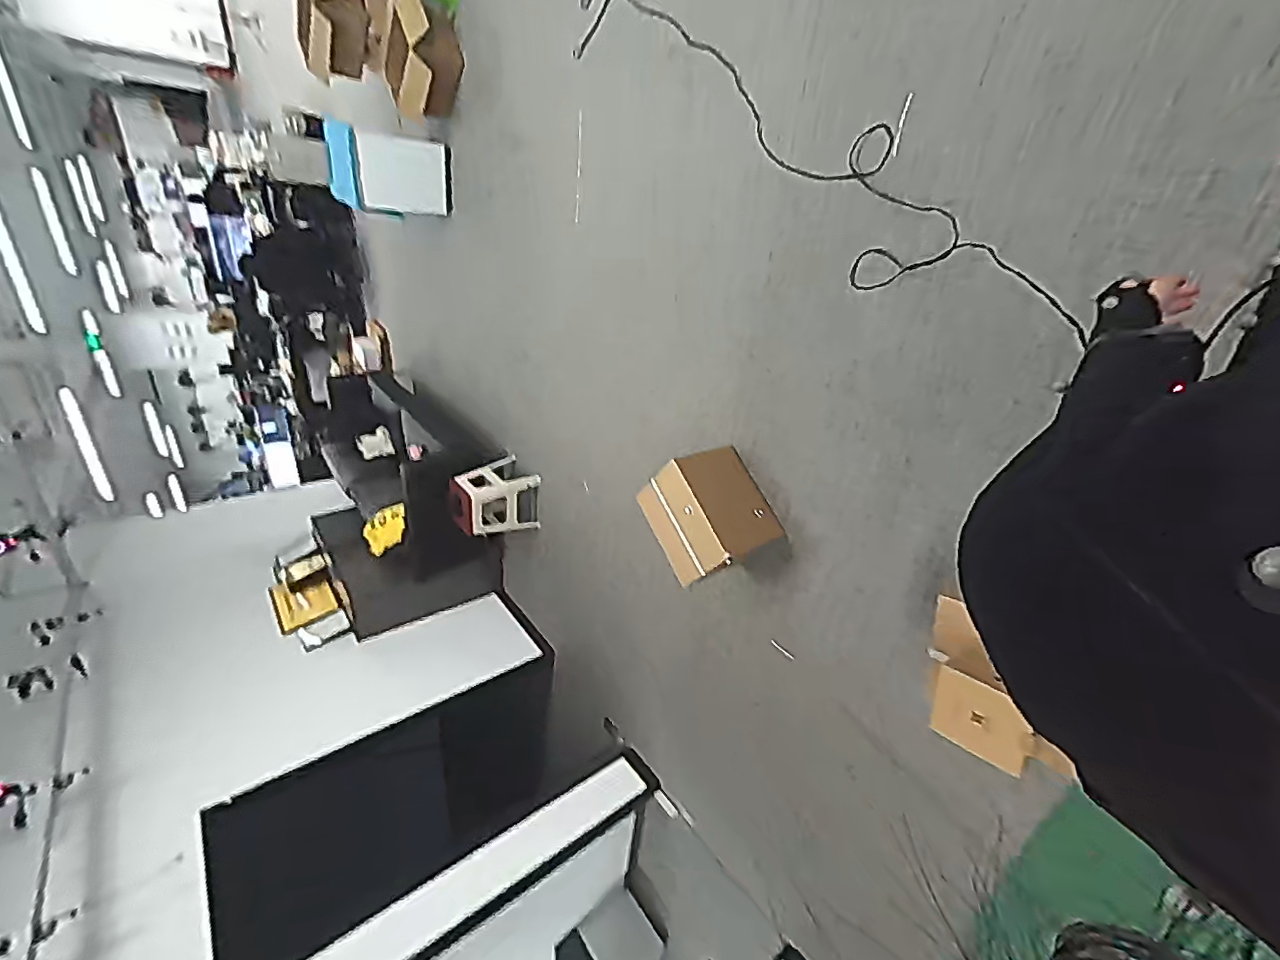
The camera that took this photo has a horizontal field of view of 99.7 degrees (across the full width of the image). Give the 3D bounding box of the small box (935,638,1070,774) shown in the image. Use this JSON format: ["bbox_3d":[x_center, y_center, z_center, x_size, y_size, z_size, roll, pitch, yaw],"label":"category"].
[{"bbox_3d":[0.754,0.456,1.124,0.179,0.176,0.168,23,118,48],"label":"small box"}]
